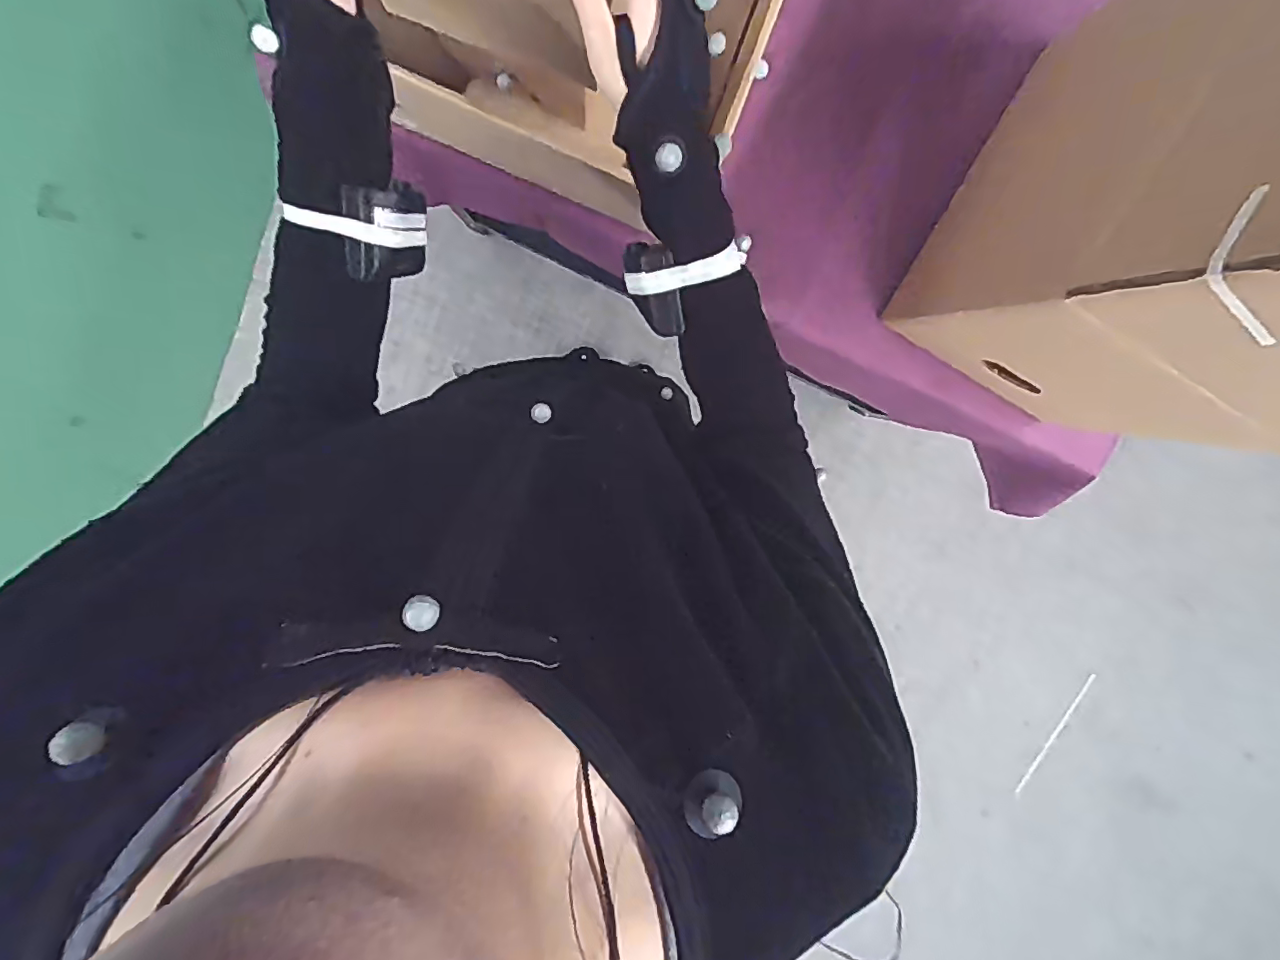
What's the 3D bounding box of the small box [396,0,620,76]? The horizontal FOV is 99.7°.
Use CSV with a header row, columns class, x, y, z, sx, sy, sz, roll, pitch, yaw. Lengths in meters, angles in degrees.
class,x,y,z,sx,sy,sz,roll,pitch,yaw
small box,-0.086,-0.408,0.346,0.179,0.176,0.168,15,102,-11
